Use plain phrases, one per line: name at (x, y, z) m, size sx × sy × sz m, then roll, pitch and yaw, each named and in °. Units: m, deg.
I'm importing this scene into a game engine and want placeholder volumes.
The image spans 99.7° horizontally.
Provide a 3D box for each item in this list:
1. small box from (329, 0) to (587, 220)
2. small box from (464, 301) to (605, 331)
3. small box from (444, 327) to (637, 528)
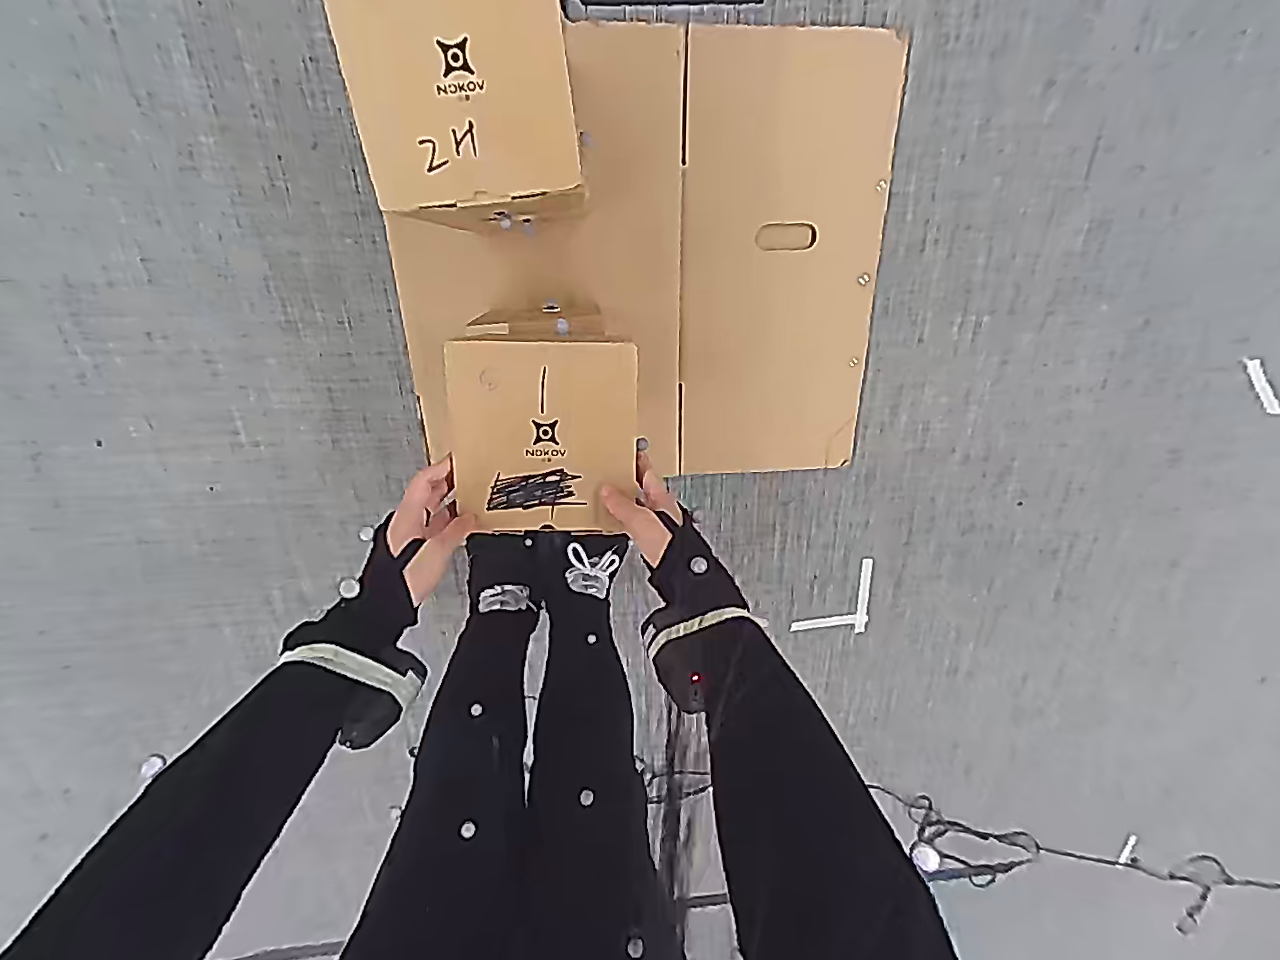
small box at (-0.140, -0.336, 0.472) m, size 0.168 × 0.176 × 0.179 m, roll -8°, pitch 114°, yaw -2°
small box at (-0.126, -0.141, 0.737) m, size 0.168 × 0.176 × 0.179 m, roll -6°, pitch 113°, yaw -4°
small box at (-0.087, -0.062, 0.555) m, size 0.168 × 0.176 × 0.179 m, roll 0°, pitch 107°, yaw -3°
